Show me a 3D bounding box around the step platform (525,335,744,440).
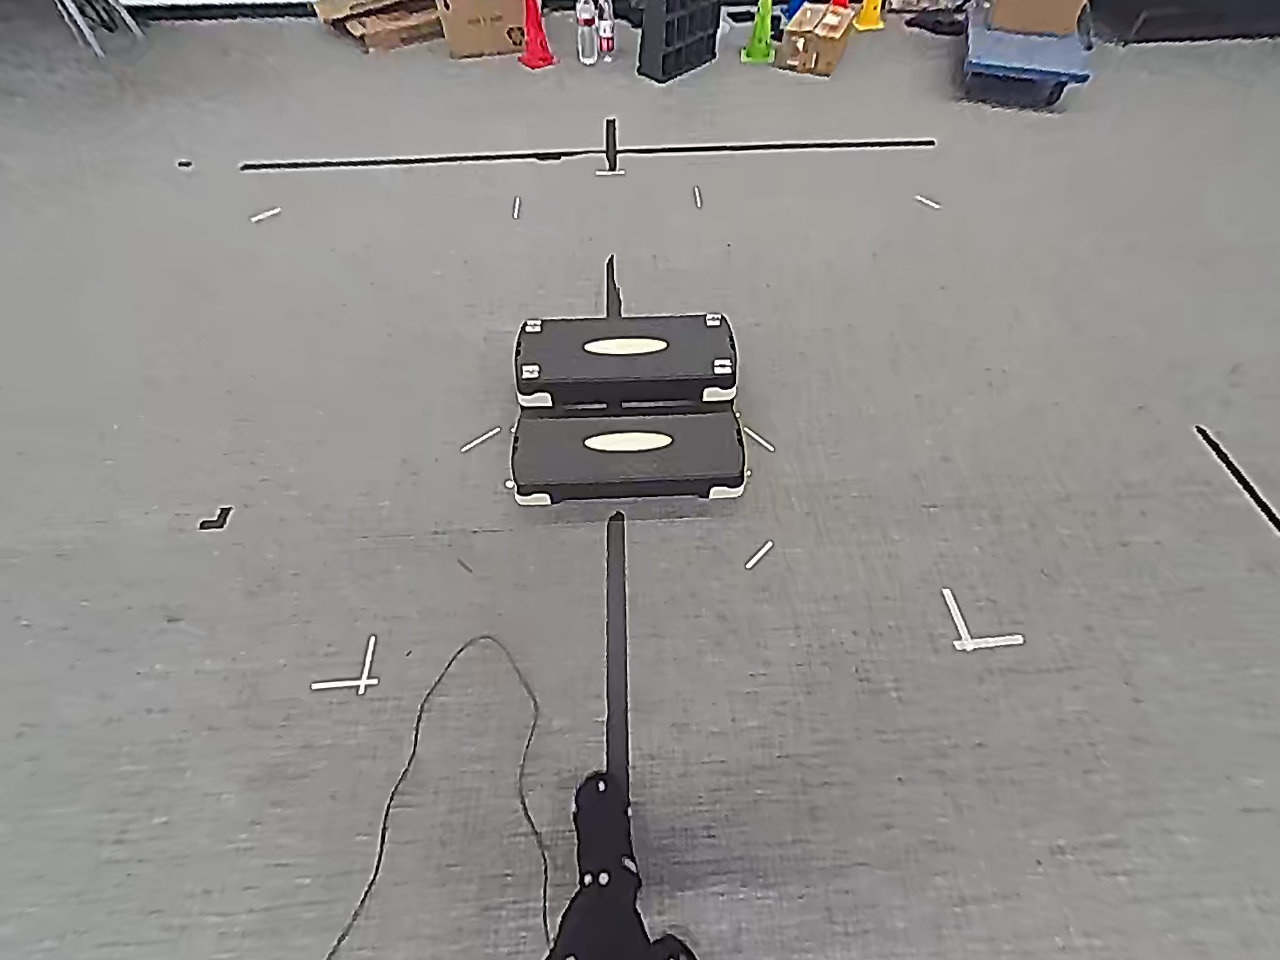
[{"bbox_3d":[-0.017,-0.299,1.720,0.684,0.204,0.286,1,55,1],"label":"step platform"}]
